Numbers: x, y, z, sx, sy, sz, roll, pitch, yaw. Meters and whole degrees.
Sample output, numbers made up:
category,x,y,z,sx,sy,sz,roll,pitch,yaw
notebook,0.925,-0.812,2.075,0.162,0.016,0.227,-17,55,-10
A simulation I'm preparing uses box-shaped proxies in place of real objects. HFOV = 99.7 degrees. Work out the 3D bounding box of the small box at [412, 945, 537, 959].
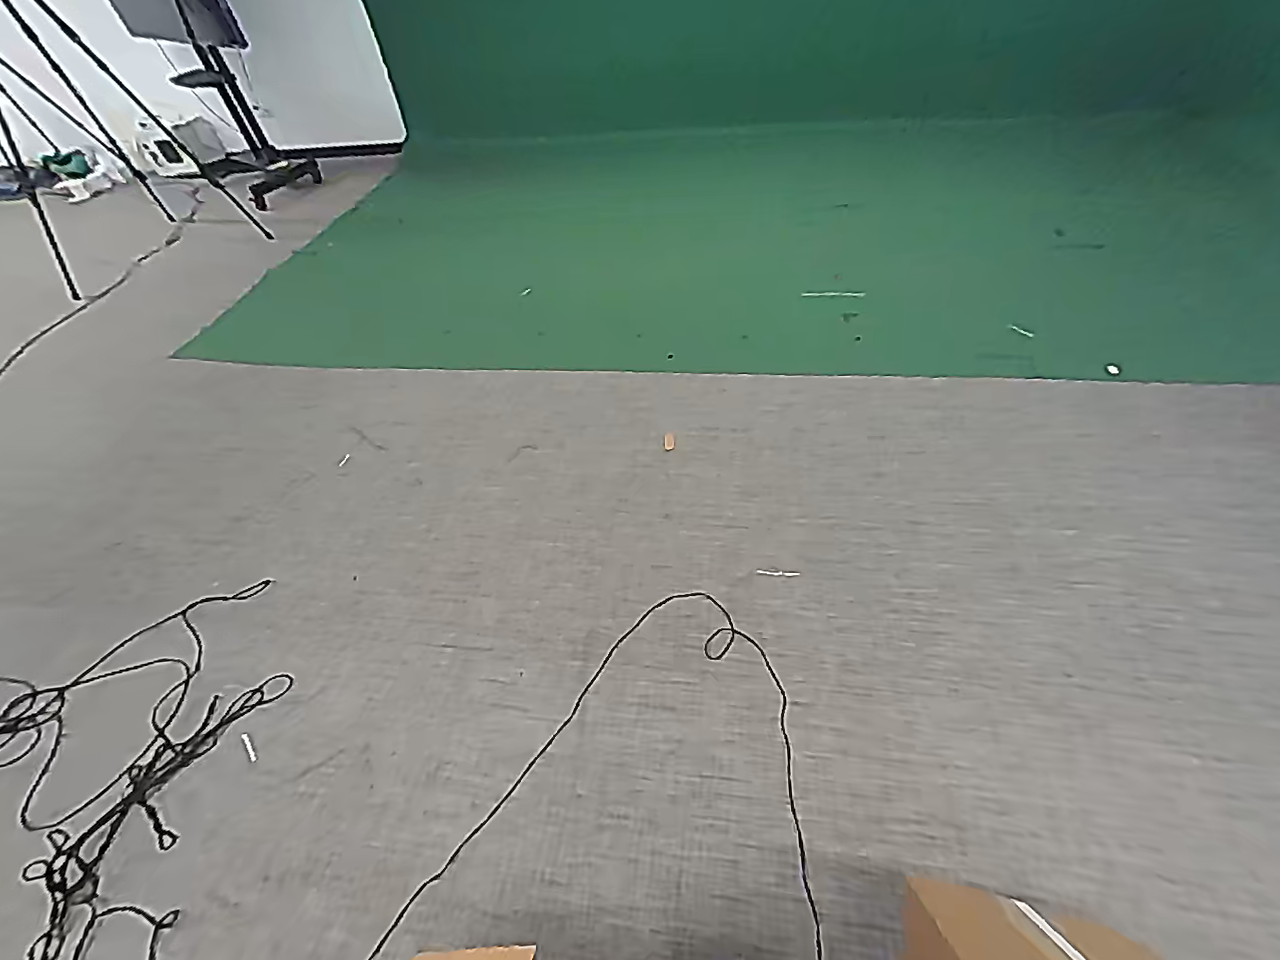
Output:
category,x,y,z,sx,sy,sz,roll,pitch,yaw
small box,-0.215,0.691,0.622,0.168,0.179,0.176,-6,82,1
